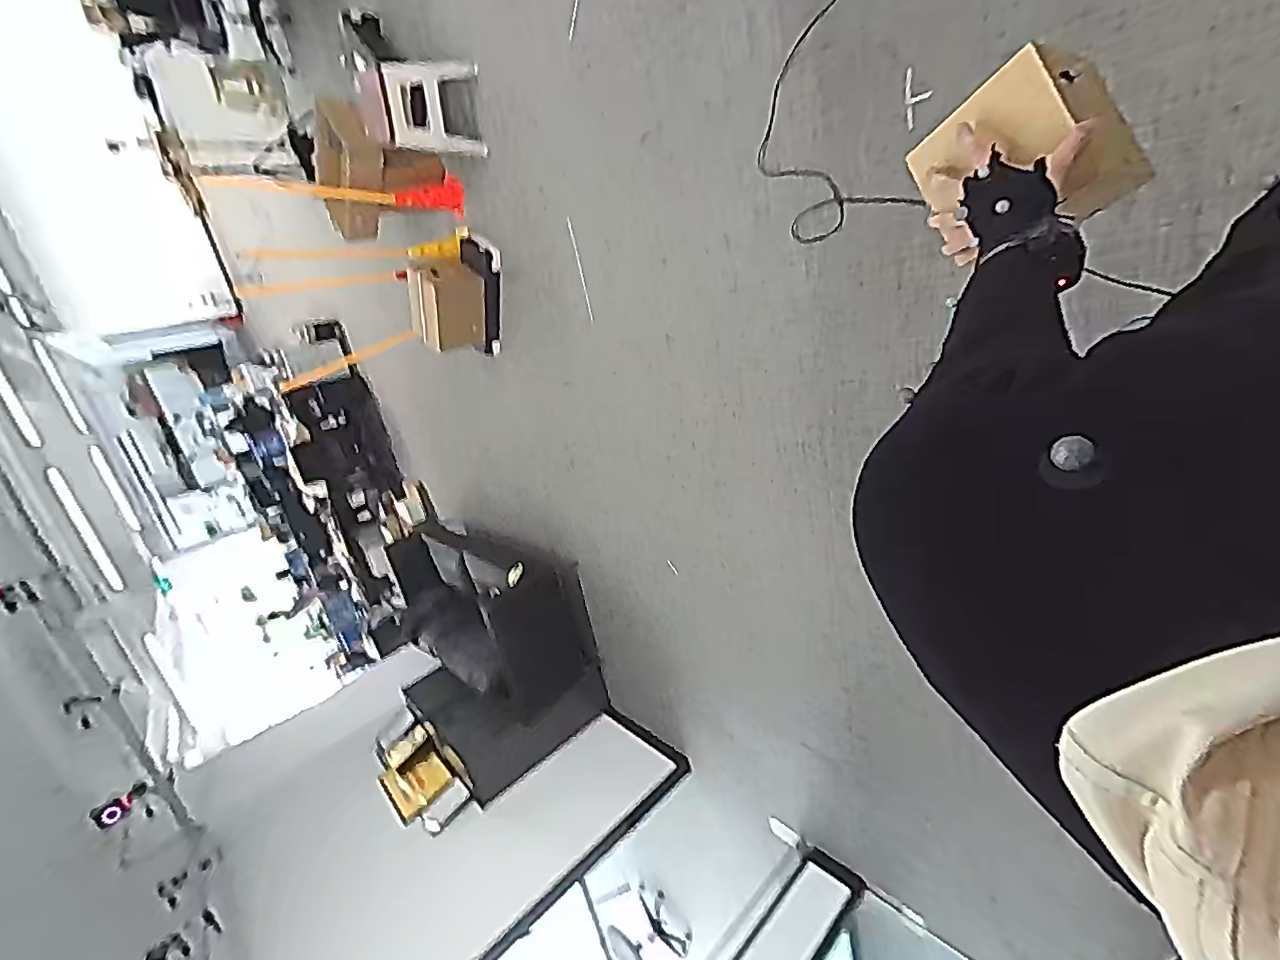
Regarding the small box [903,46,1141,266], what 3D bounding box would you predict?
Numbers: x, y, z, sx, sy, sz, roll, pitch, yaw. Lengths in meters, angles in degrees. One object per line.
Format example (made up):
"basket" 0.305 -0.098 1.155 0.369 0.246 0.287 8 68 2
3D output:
"small box" 0.489 -0.404 0.701 0.168 0.176 0.179 -32 78 60
